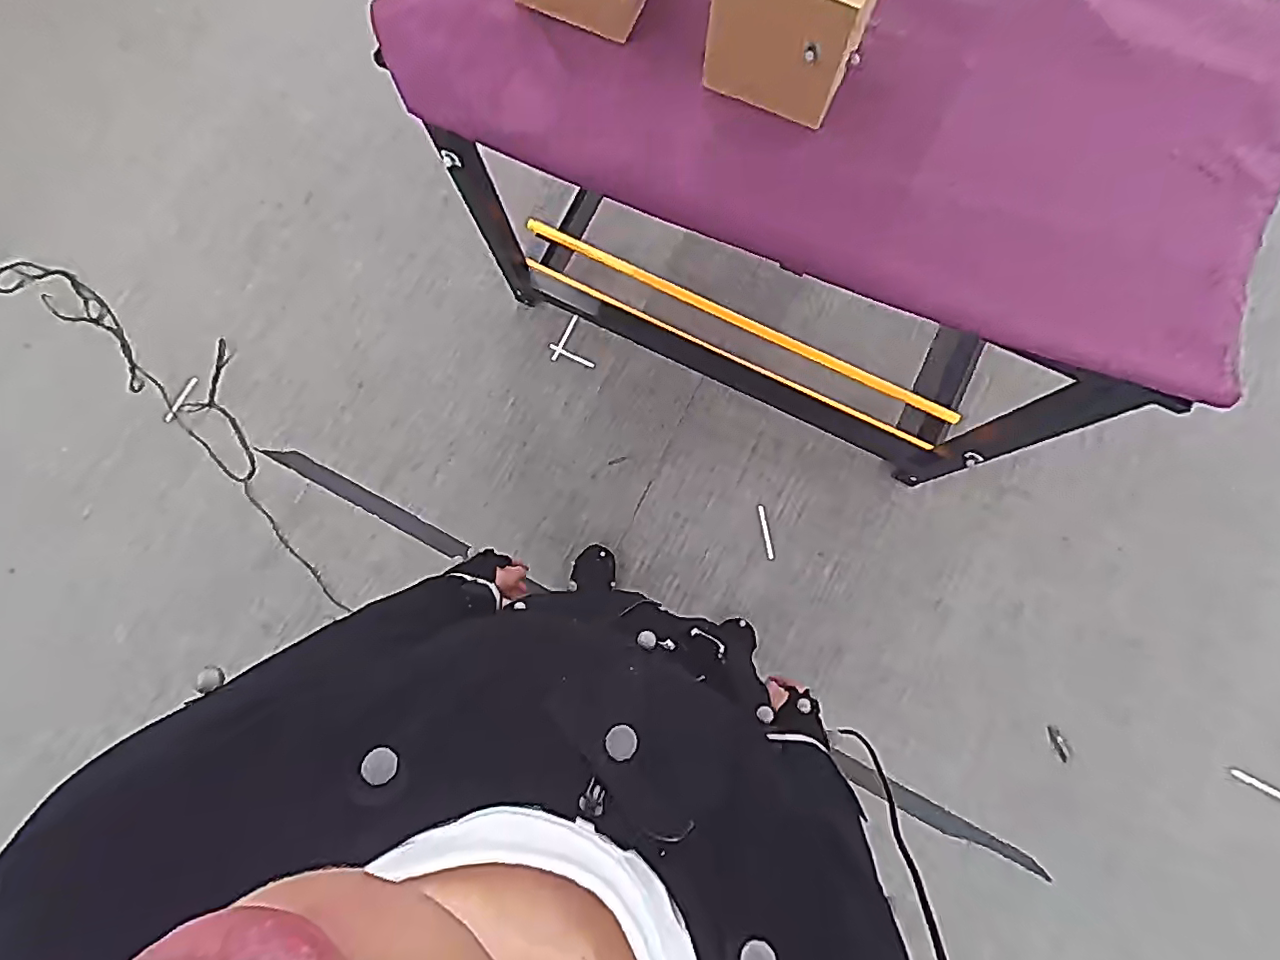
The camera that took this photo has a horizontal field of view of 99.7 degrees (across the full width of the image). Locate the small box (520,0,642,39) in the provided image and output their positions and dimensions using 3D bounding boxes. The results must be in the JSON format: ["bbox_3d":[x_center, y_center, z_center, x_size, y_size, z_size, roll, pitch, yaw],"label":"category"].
[{"bbox_3d":[-0.068,-0.748,0.722,0.179,0.176,0.168,24,81,3],"label":"small box"}]
